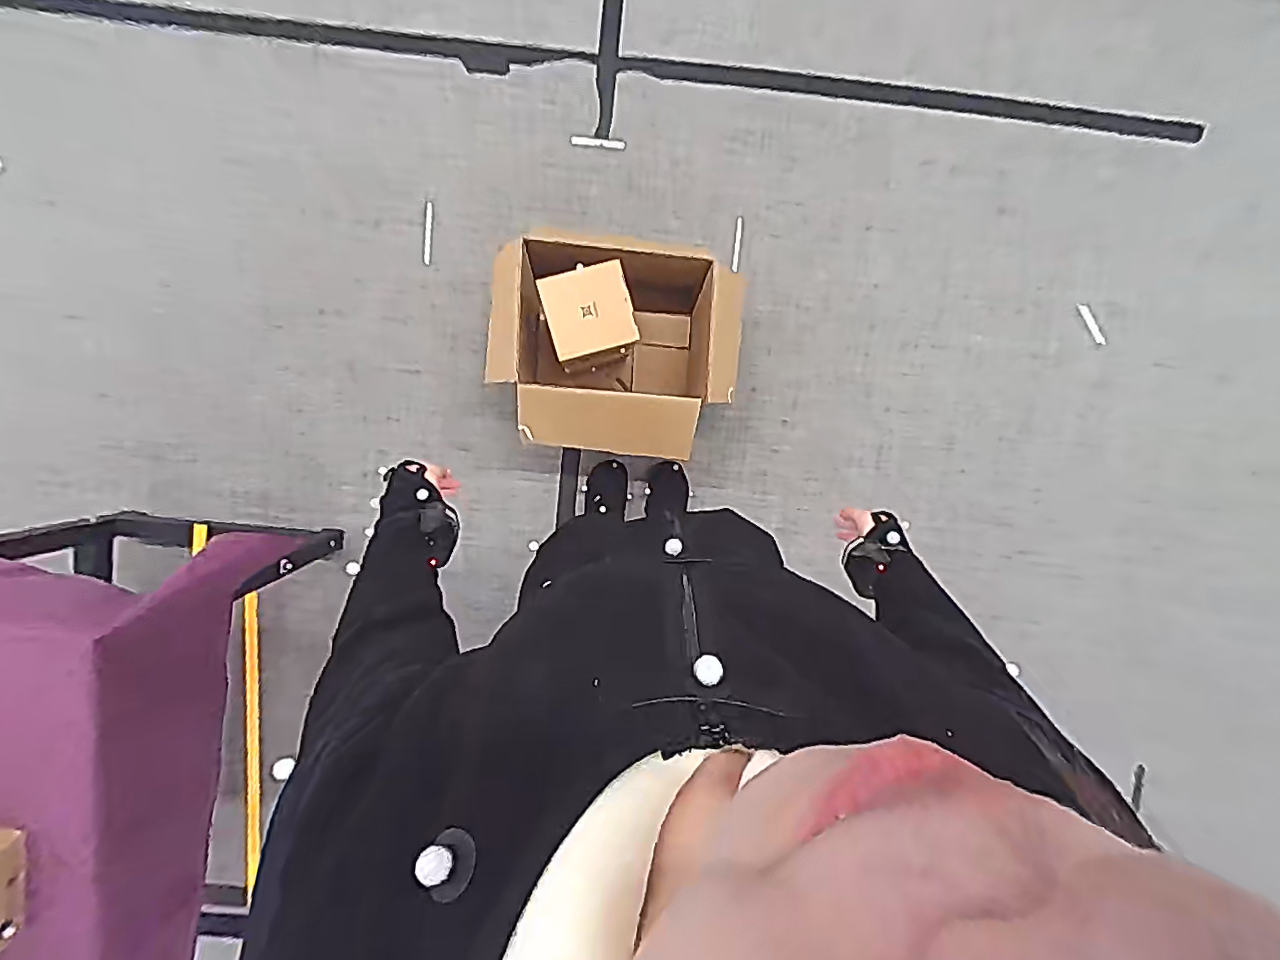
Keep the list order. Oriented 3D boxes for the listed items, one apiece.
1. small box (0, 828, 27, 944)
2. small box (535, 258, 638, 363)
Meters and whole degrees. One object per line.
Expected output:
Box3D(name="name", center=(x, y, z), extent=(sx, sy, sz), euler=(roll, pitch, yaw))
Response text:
Box3D(name="small box", center=(-0.964, 0.574, 0.697), extent=(0.179, 0.176, 0.168), euler=(9, 96, -3))
Box3D(name="small box", center=(-0.115, -0.358, 1.173), extent=(0.179, 0.176, 0.168), euler=(-17, 100, -4))
